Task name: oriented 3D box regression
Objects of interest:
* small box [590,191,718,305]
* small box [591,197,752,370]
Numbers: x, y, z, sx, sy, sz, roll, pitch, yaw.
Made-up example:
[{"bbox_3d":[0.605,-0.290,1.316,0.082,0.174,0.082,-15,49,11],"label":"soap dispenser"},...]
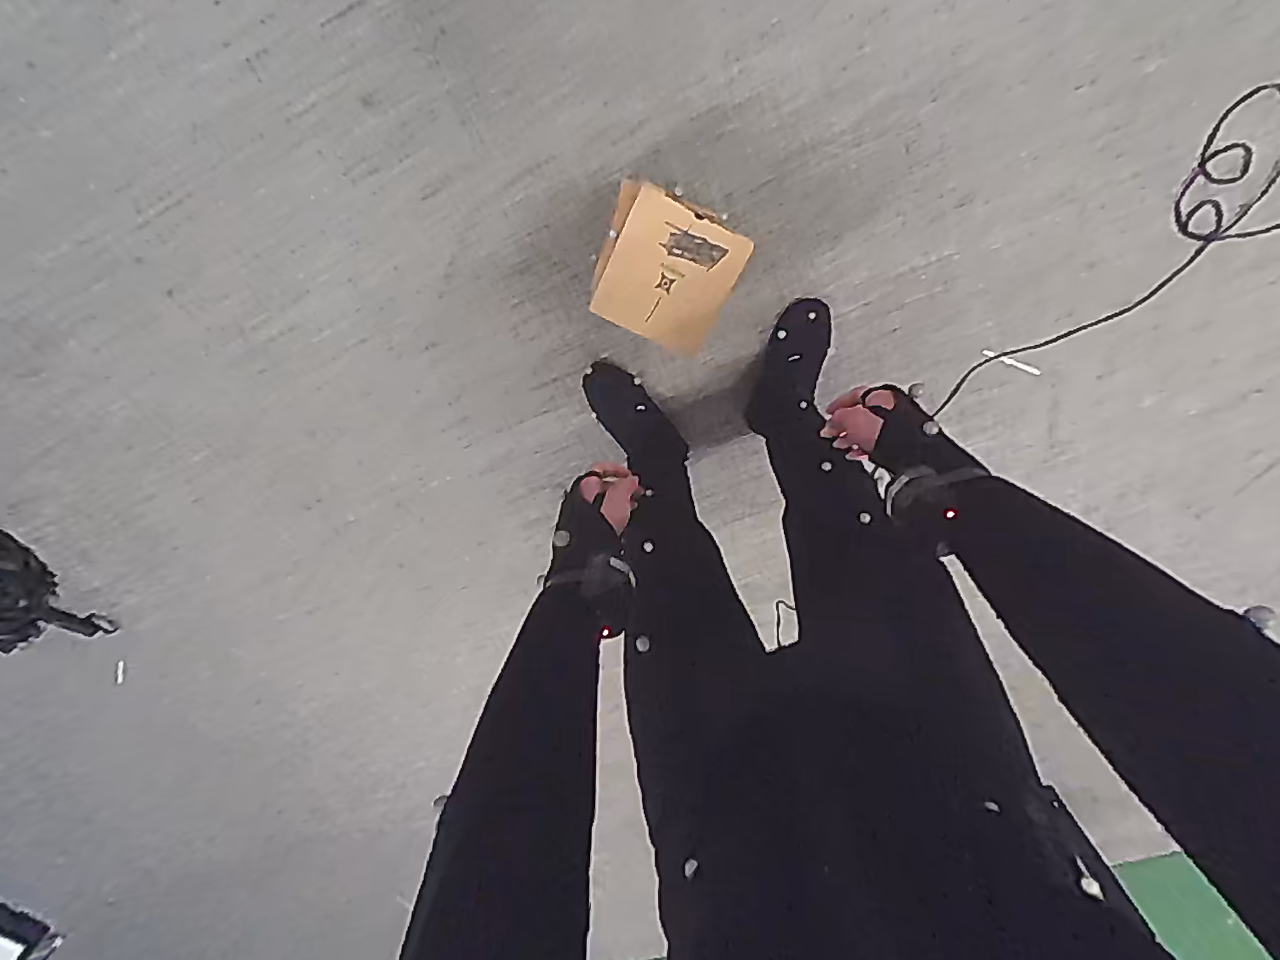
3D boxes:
[{"bbox_3d":[0.019,-0.381,0.939,0.168,0.176,0.179,16,116,-10],"label":"small box"},{"bbox_3d":[0.038,-0.296,0.799,0.168,0.176,0.179,23,117,-13],"label":"small box"}]
